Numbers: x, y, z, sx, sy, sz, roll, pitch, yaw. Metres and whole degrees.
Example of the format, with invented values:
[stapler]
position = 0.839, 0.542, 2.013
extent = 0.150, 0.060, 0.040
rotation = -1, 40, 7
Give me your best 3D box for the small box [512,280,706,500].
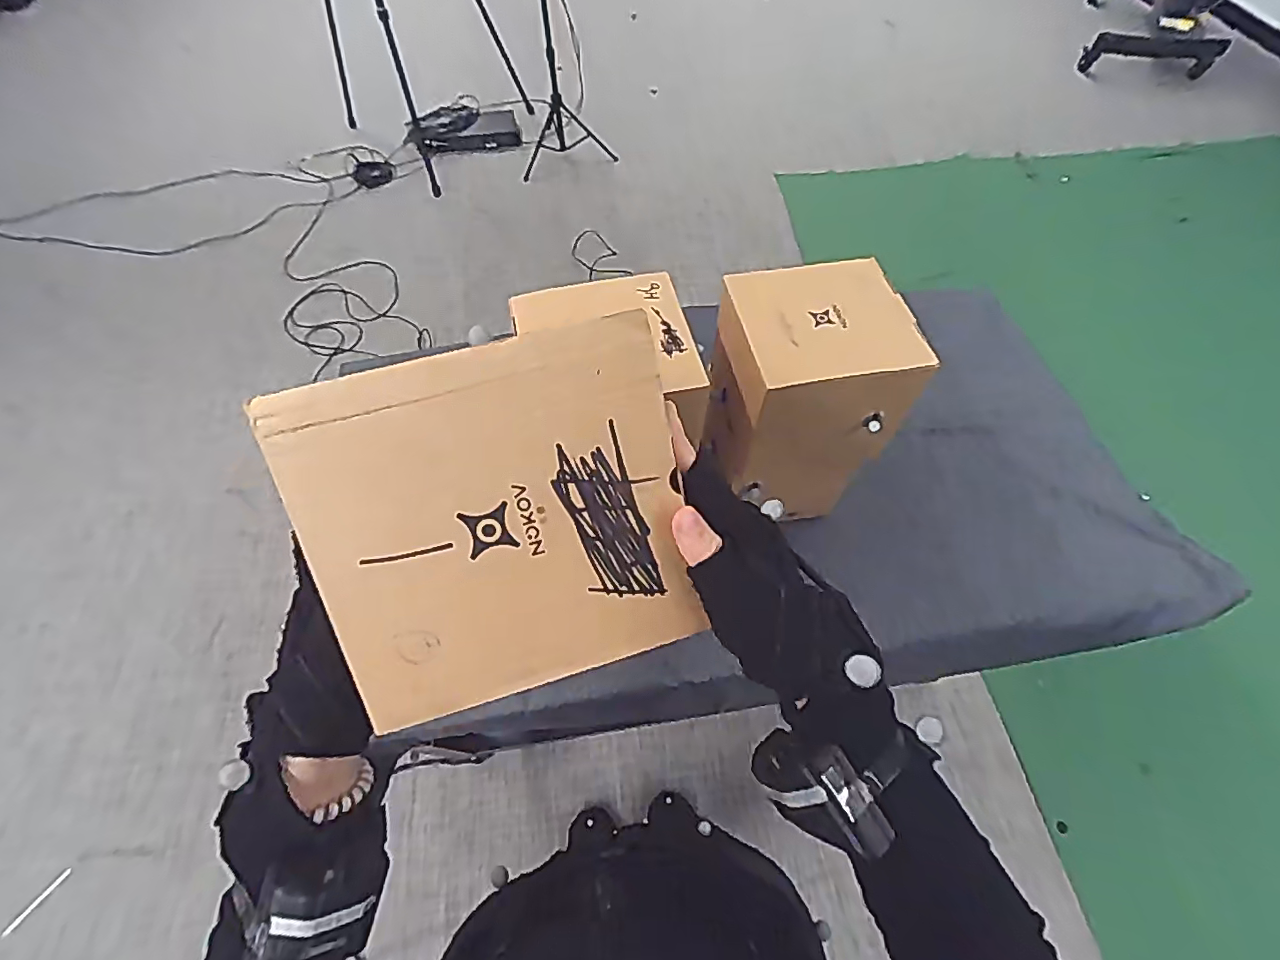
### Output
[small box]
position = -0.034, -0.094, 0.617
extent = 0.179, 0.176, 0.168
rotation = -12, 61, -5
